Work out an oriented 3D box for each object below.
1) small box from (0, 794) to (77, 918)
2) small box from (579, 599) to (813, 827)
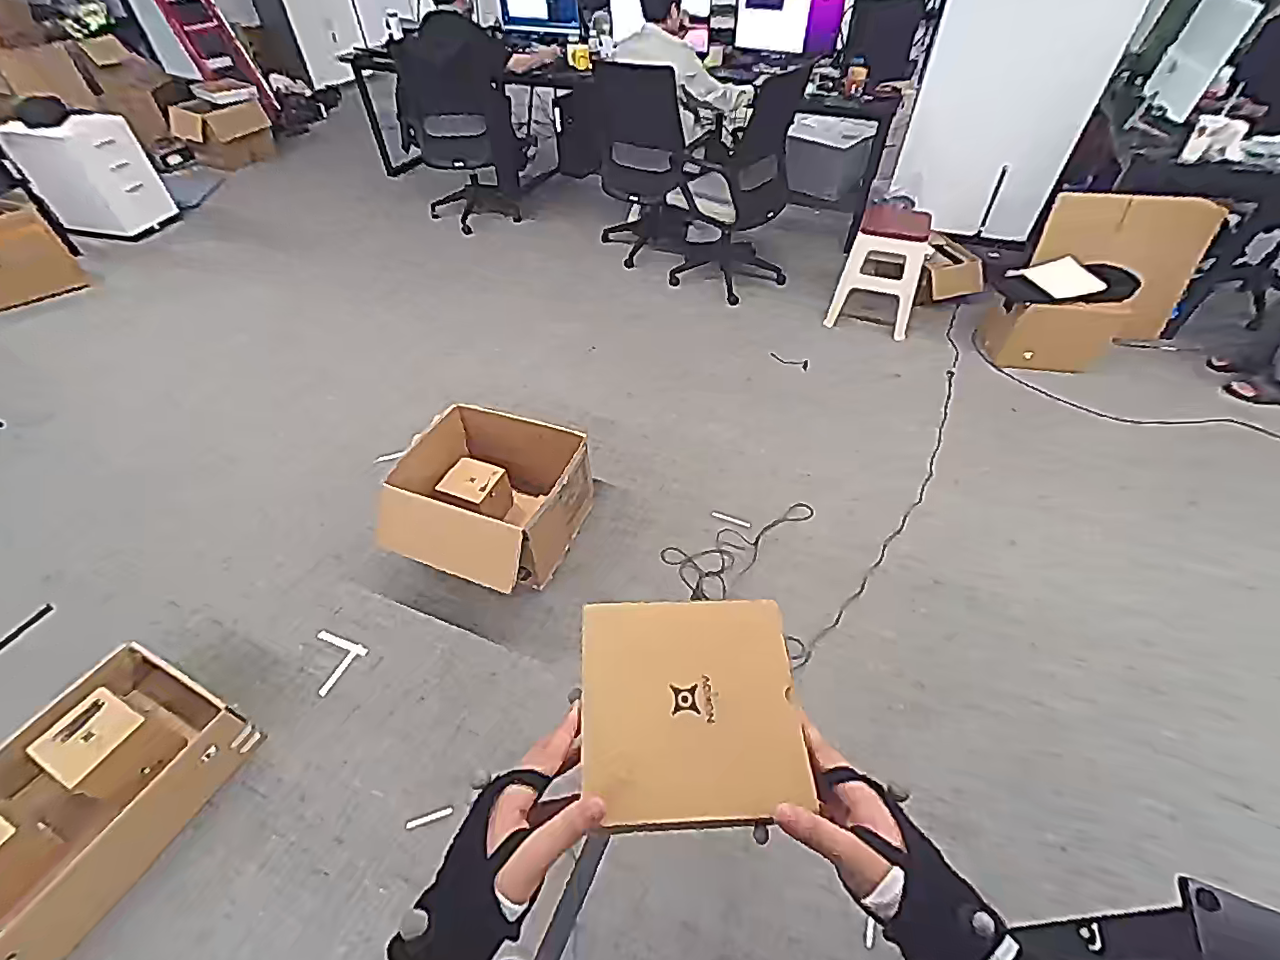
[{"bbox_3d":[-1.385,0.804,1.146,0.168,0.176,0.179,22,50,17],"label":"small box"},{"bbox_3d":[0.036,0.221,0.504,0.179,0.176,0.168,0,56,-4],"label":"small box"}]
